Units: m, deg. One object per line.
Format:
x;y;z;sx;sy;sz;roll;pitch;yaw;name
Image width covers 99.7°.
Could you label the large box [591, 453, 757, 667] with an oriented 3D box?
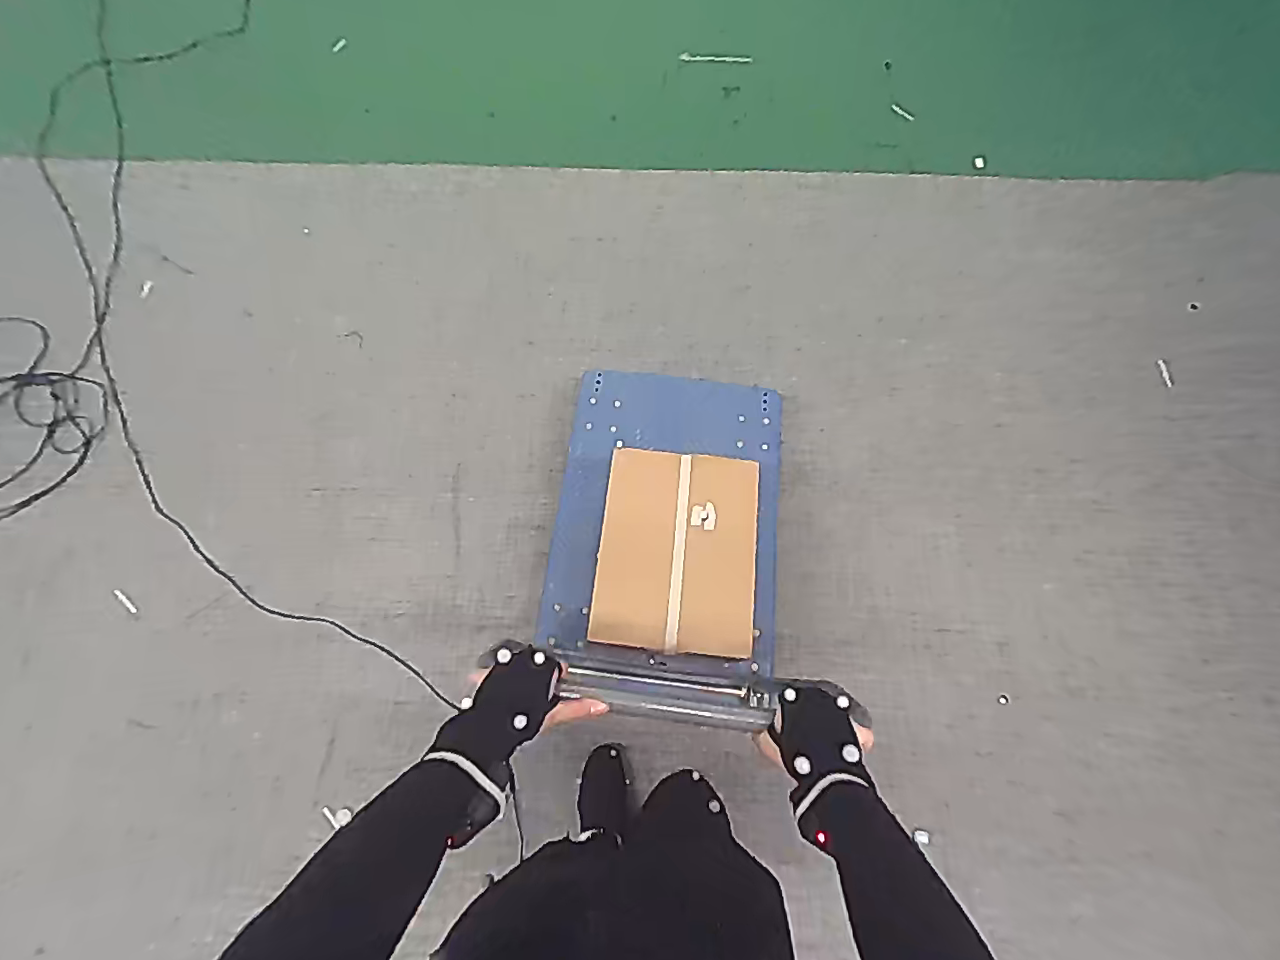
0.077;0.194;1.223;0.320;0.320;0.408;7;68;1;large box
